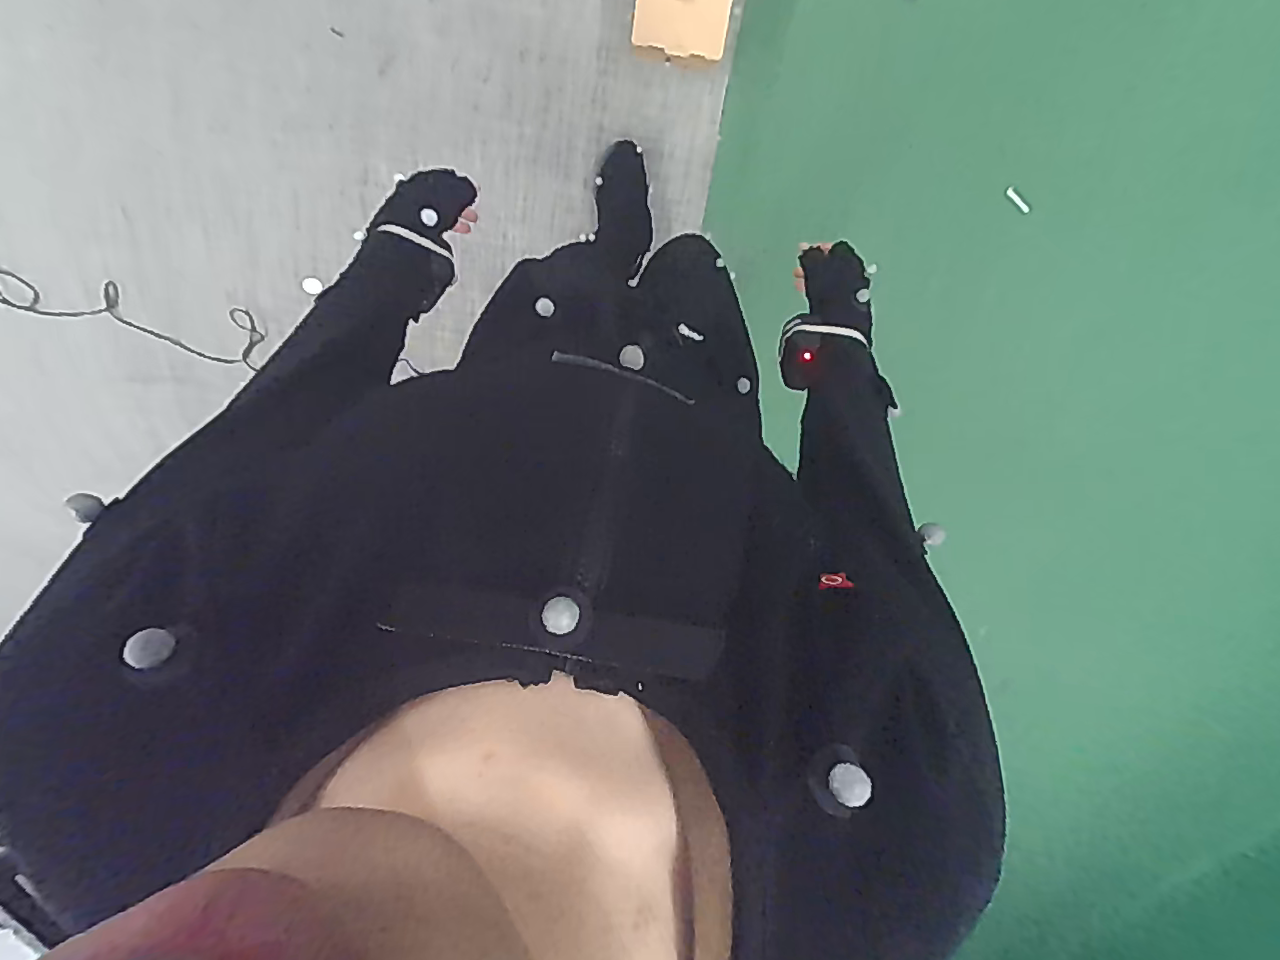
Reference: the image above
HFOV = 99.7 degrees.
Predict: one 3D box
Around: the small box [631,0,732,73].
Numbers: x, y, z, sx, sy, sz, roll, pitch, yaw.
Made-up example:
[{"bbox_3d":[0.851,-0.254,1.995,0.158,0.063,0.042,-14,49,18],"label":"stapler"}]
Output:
[{"bbox_3d":[0.078,-0.874,0.987,0.168,0.176,0.179,8,121,-4],"label":"small box"}]
